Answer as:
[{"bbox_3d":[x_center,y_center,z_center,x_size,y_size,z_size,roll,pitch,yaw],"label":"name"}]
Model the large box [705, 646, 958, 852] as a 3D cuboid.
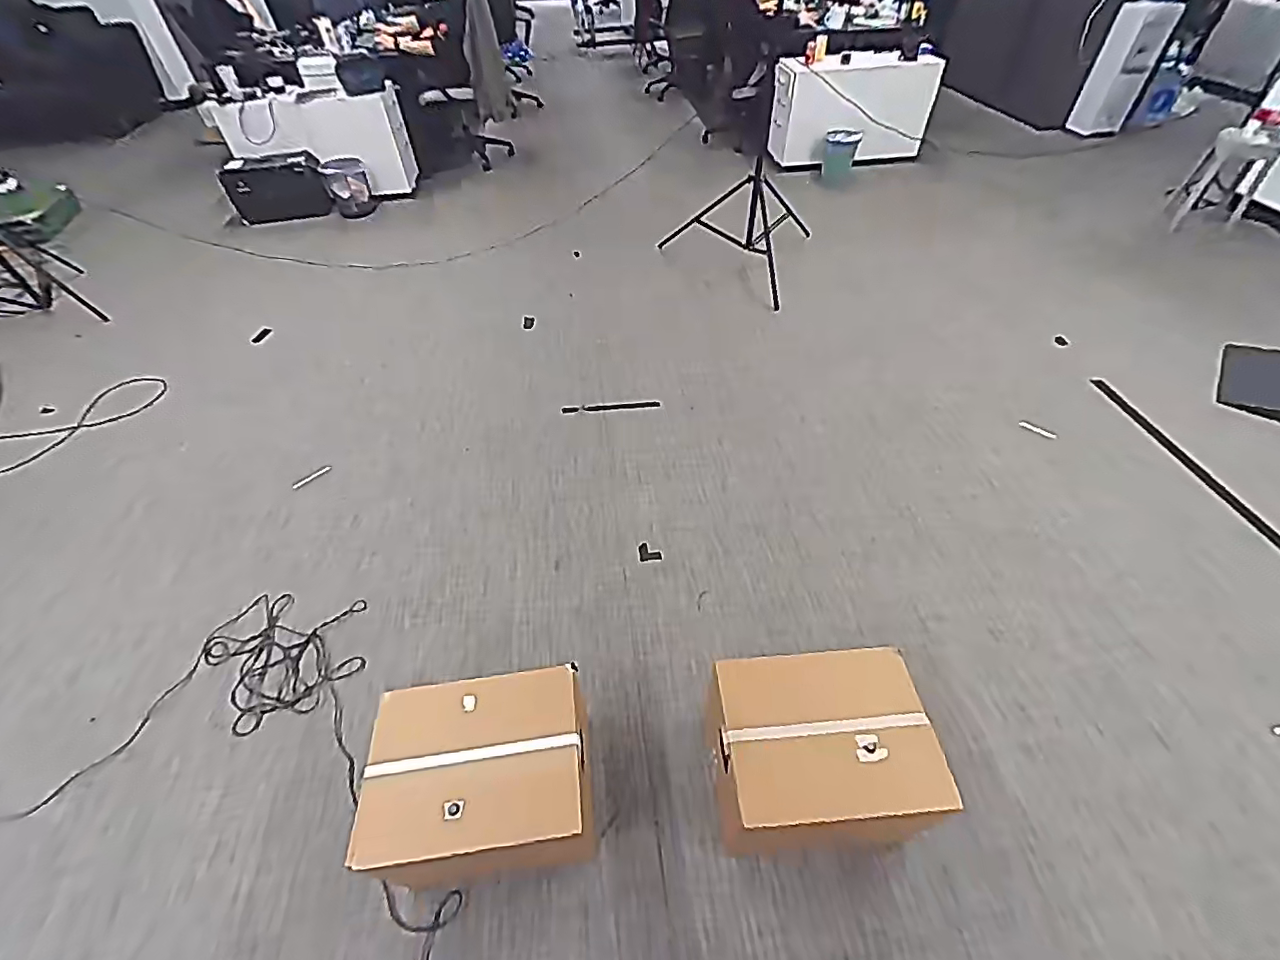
[{"bbox_3d":[0.375,0.591,1.186,0.408,0.320,0.320,-3,48,-2],"label":"large box"}]
